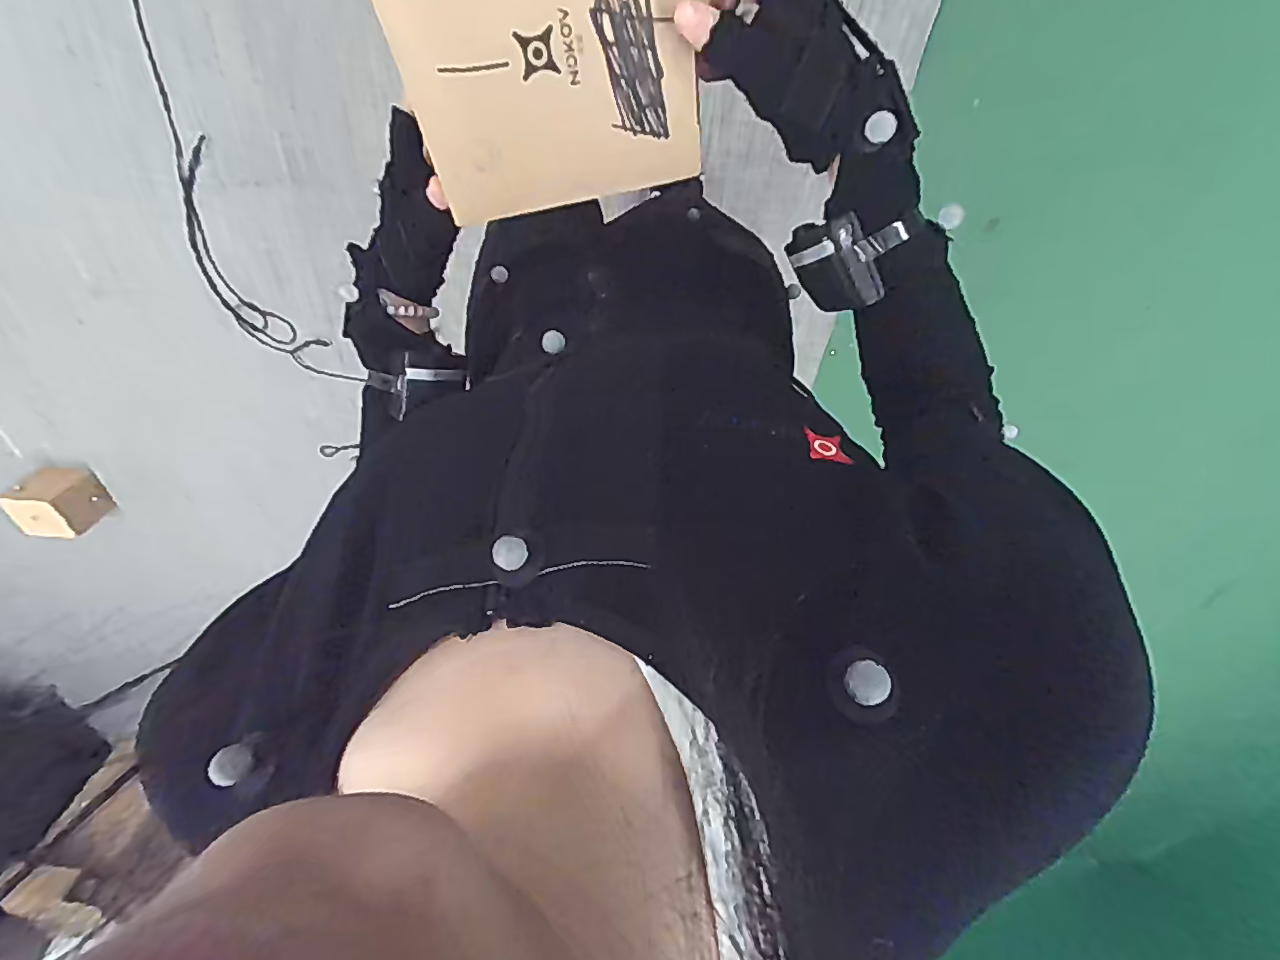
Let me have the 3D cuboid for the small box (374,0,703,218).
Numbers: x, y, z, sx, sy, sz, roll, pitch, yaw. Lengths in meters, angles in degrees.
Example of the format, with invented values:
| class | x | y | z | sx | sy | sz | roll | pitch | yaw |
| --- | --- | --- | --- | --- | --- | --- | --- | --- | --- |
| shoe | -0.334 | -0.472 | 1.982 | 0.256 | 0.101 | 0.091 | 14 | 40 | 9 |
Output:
| class | x | y | z | sx | sy | sz | roll | pitch | yaw |
| --- | --- | --- | --- | --- | --- | --- | --- | --- | --- |
| small box | -0.066 | -0.303 | 0.354 | 0.179 | 0.176 | 0.168 | -12 | 140 | -3 |

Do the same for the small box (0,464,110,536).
| class | x | y | z | sx | sy | sz | roll | pitch | yaw |
| --- | --- | --- | --- | --- | --- | --- | --- | --- | --- |
| small box | -1.947 | 0.063 | 1.796 | 0.179 | 0.176 | 0.168 | 4 | 129 | -1 |
